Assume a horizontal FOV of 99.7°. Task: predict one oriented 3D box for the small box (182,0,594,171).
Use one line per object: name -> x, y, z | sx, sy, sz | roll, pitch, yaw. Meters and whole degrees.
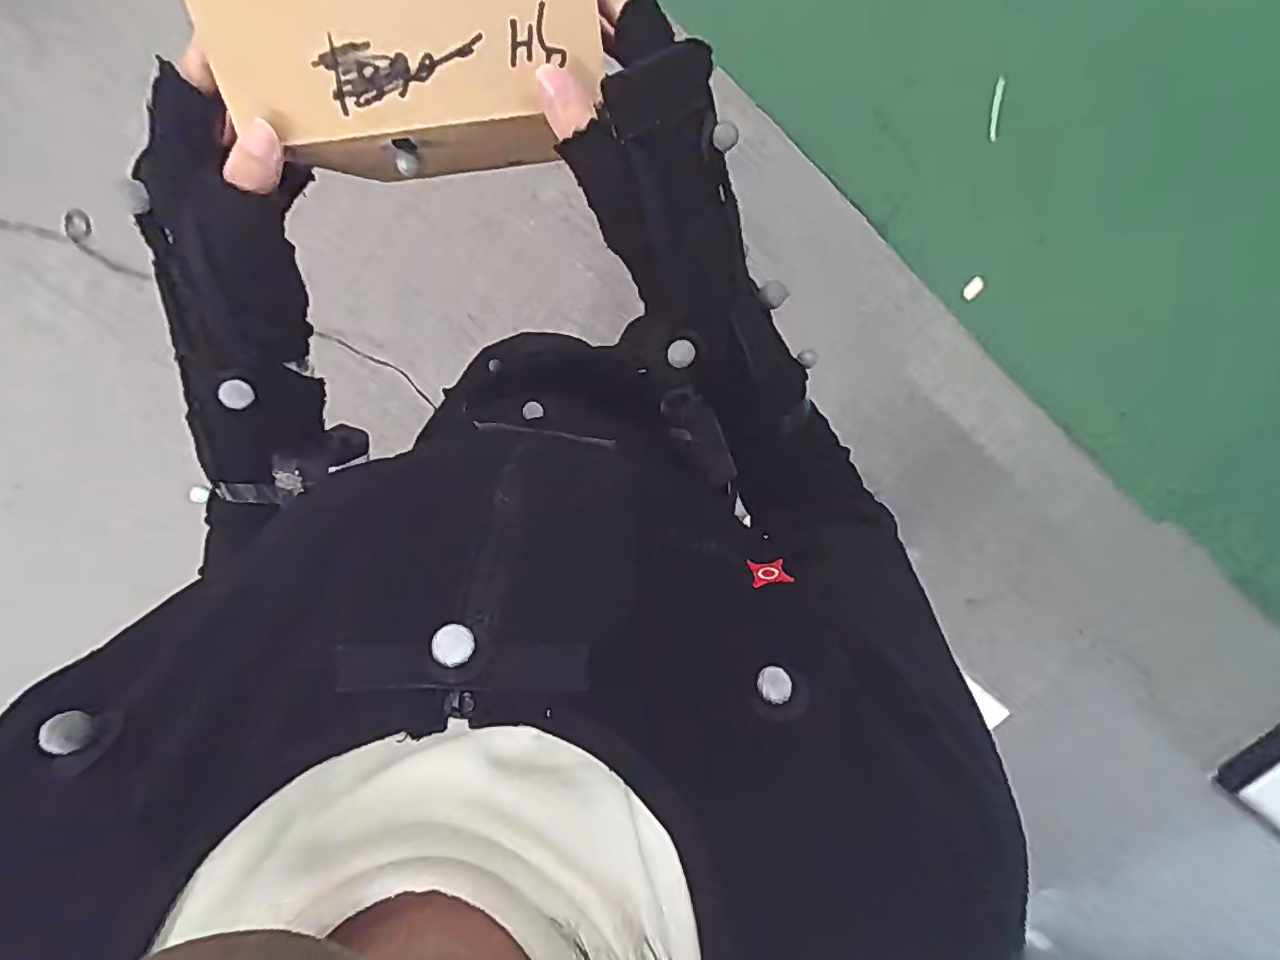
small box -> -0.119, -0.279, 0.280 | 0.168, 0.176, 0.179 | -9, 114, -1
